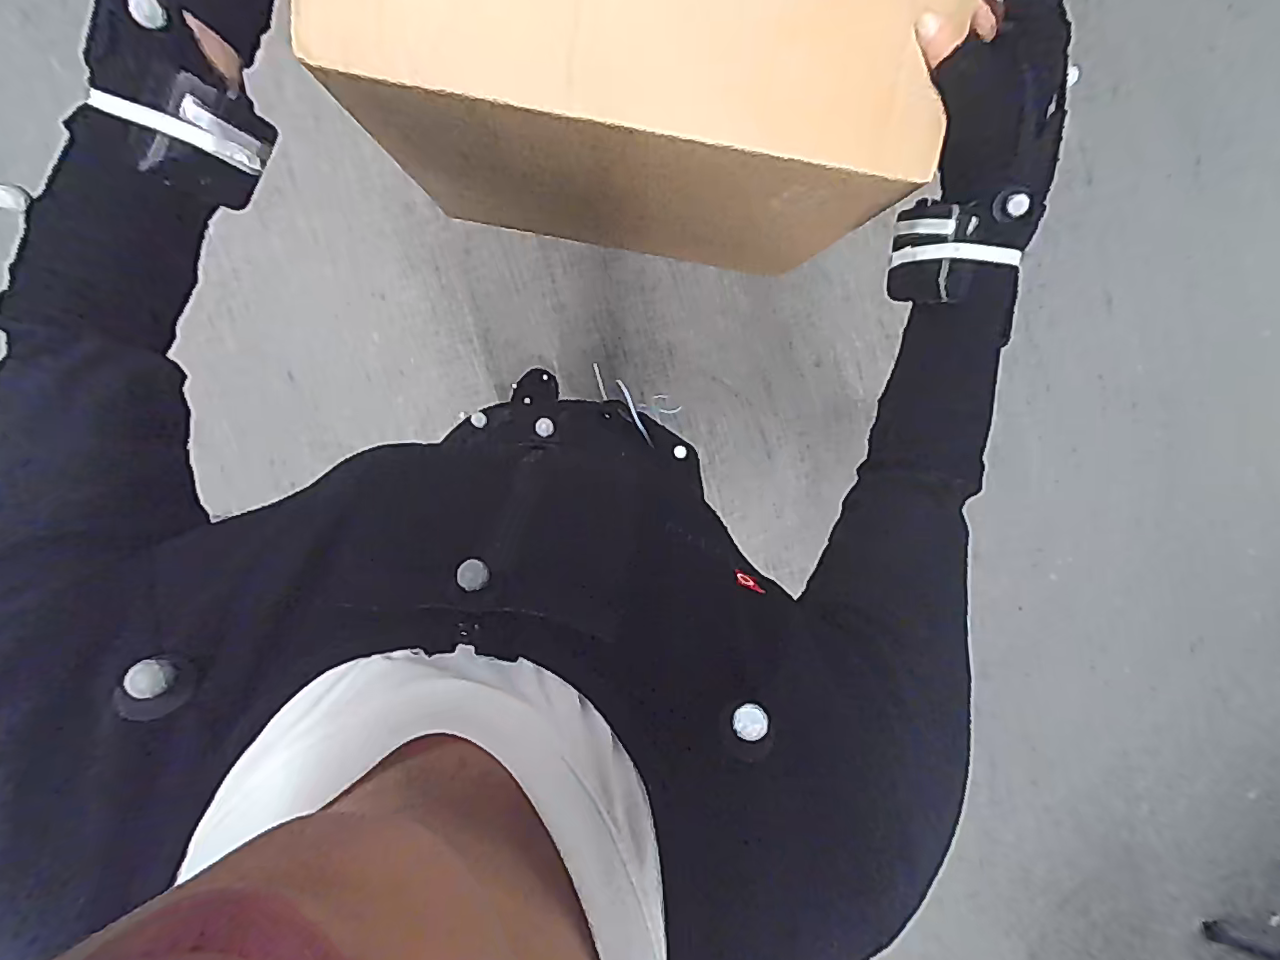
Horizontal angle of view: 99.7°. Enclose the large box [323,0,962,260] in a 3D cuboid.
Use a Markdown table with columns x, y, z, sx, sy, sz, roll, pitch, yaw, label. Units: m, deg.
| x | y | z | sx | sy | sz | roll | pitch | yaw | label |
| --- | --- | --- | --- | --- | --- | --- | --- | --- | --- |
| 0.007 | -0.409 | 0.469 | 0.408 | 0.320 | 0.320 | 7 | 101 | -6 | large box |
